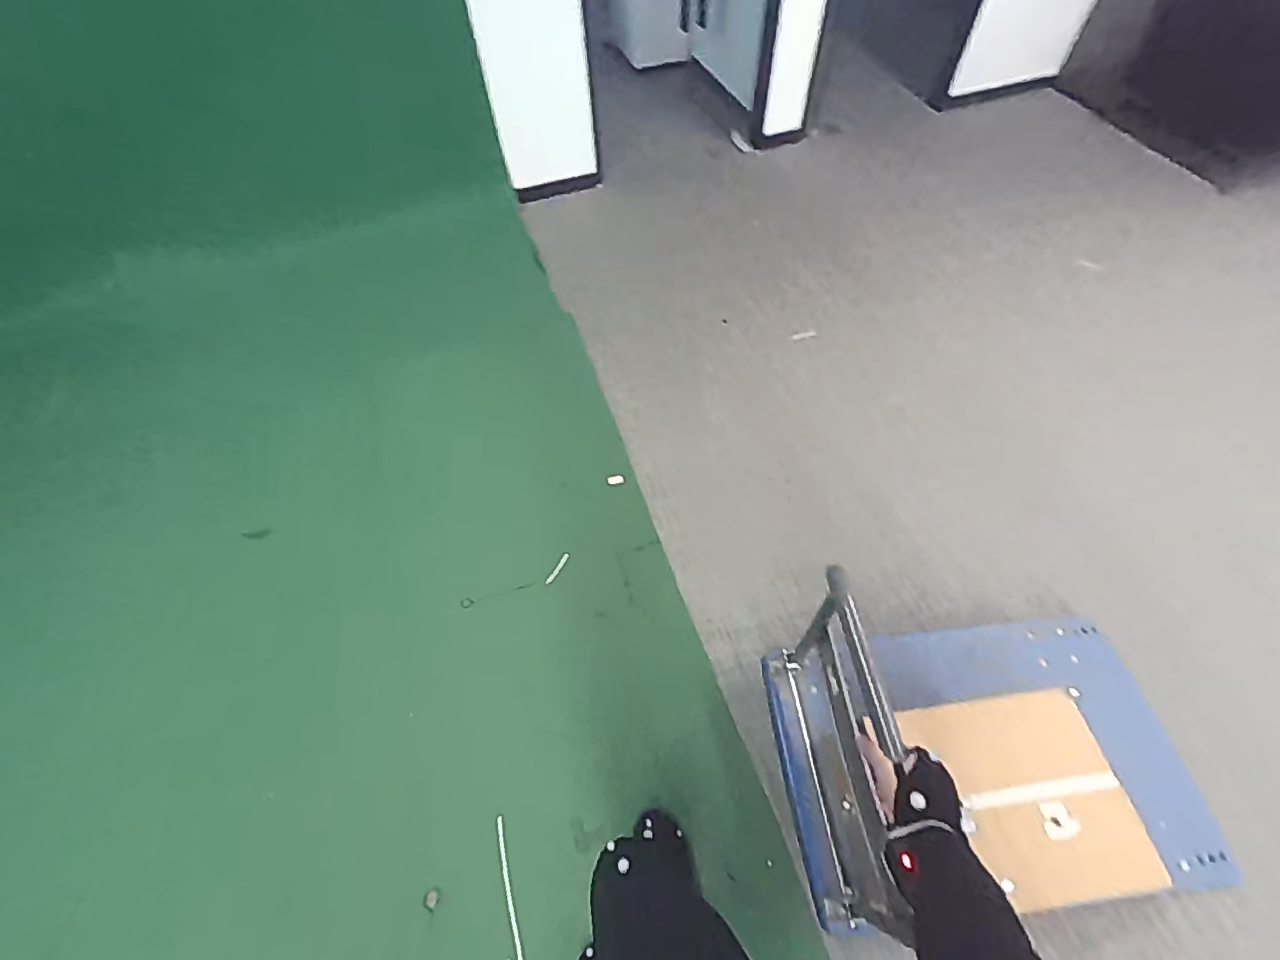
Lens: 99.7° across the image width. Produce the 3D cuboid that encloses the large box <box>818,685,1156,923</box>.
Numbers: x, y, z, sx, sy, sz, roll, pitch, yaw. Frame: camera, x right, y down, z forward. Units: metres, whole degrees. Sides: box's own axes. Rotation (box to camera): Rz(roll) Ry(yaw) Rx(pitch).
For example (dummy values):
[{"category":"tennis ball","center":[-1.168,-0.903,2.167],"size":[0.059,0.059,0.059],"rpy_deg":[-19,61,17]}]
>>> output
[{"category":"large box","center":[0.626,0.627,1.069],"size":[0.408,0.320,0.320],"rpy_deg":[-7,58,-3]}]
